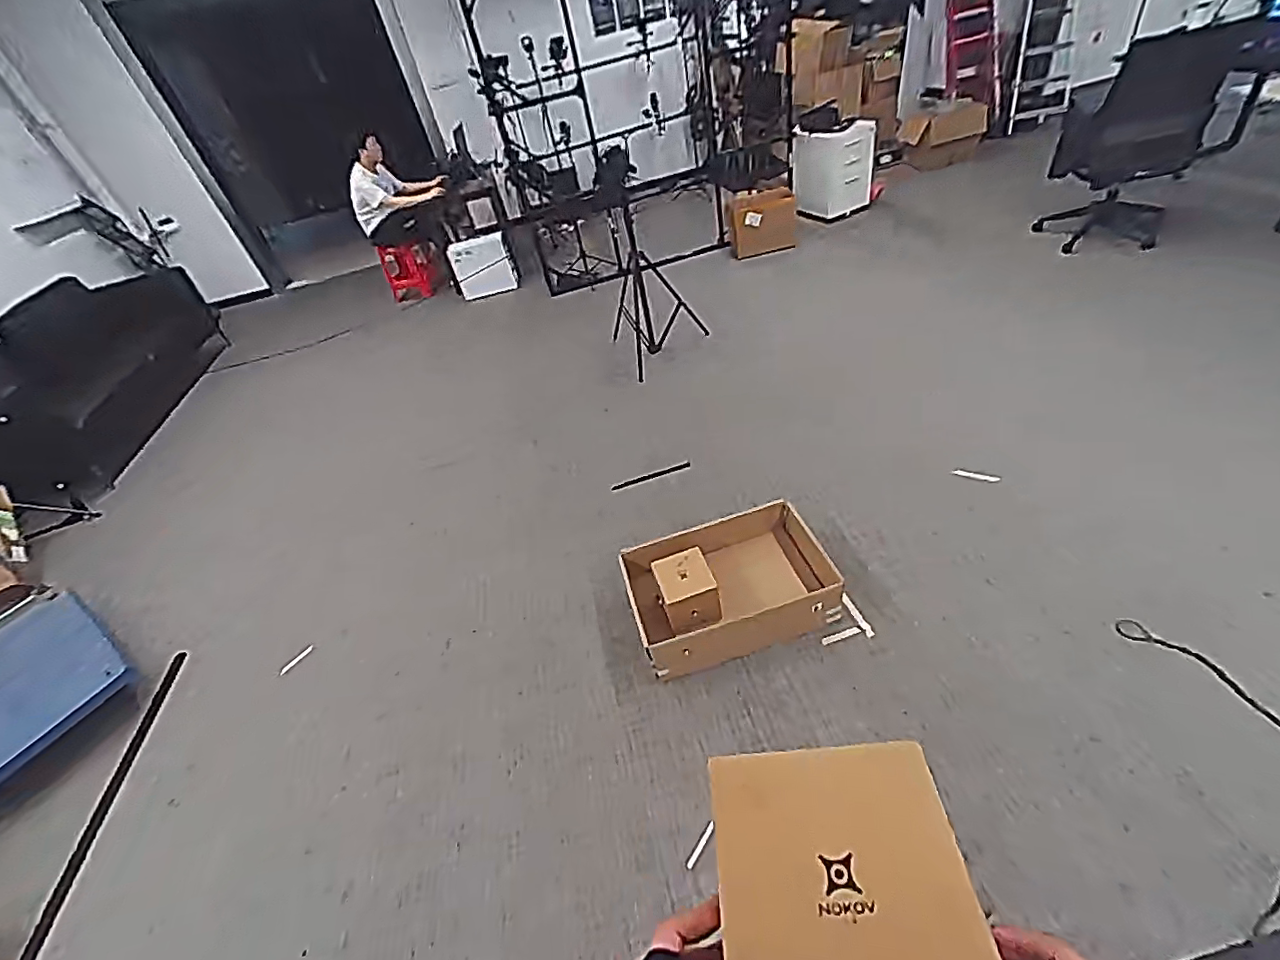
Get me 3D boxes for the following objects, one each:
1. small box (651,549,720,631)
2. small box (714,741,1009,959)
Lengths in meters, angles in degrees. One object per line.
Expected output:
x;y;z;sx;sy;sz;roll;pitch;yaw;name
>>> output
0.146;0.358;1.724;0.168;0.176;0.179;-18;40;-6;small box
0.150;0.325;0.409;0.168;0.176;0.179;-8;41;6;small box
